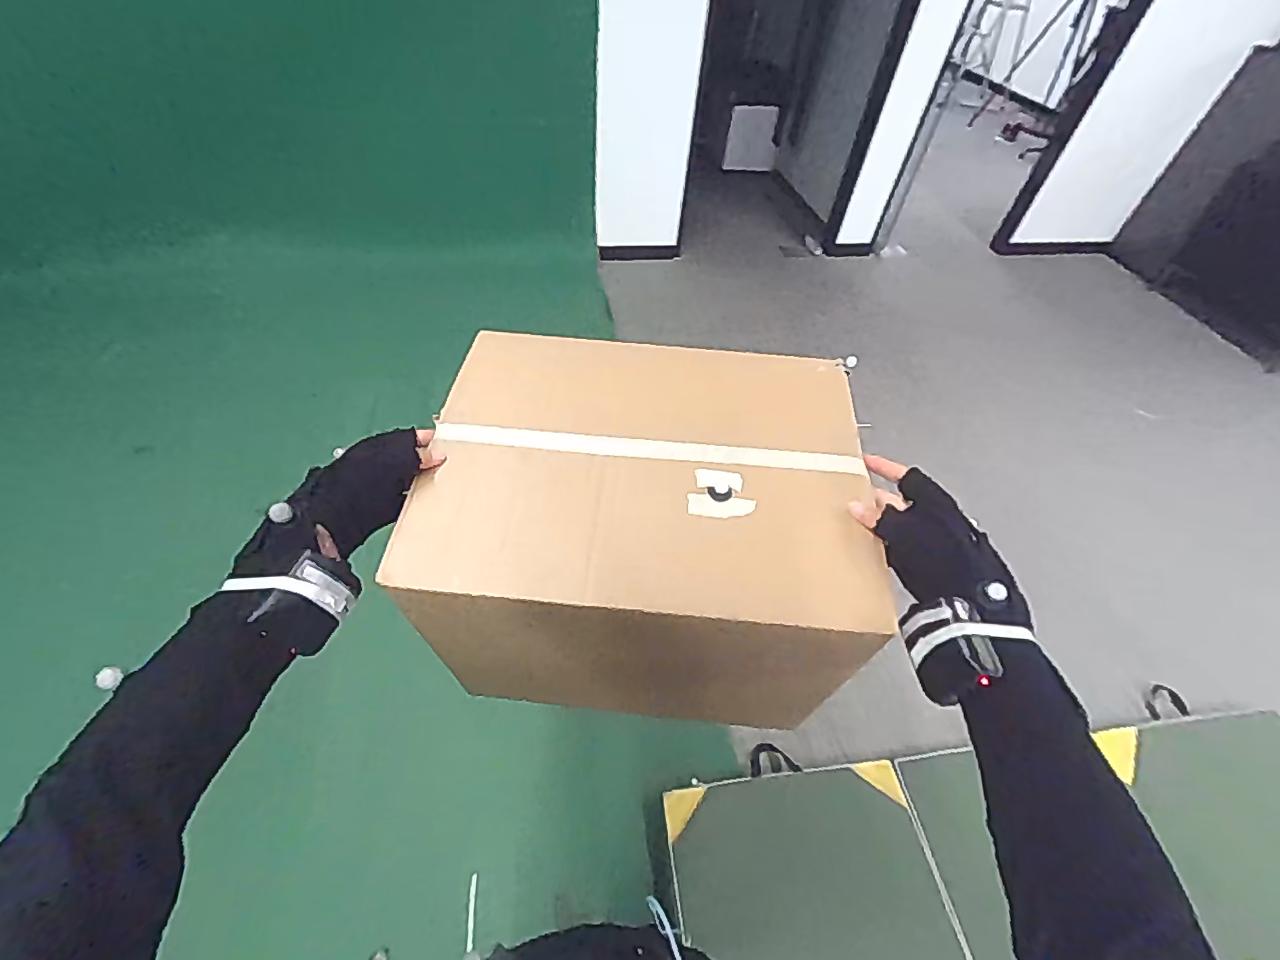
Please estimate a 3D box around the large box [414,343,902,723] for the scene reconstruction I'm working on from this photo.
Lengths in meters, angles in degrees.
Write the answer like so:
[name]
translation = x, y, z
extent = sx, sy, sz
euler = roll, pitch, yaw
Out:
[large box]
translation = 0.017, 0.071, 0.639
extent = 0.408, 0.320, 0.320
euler = 6, 53, 1
